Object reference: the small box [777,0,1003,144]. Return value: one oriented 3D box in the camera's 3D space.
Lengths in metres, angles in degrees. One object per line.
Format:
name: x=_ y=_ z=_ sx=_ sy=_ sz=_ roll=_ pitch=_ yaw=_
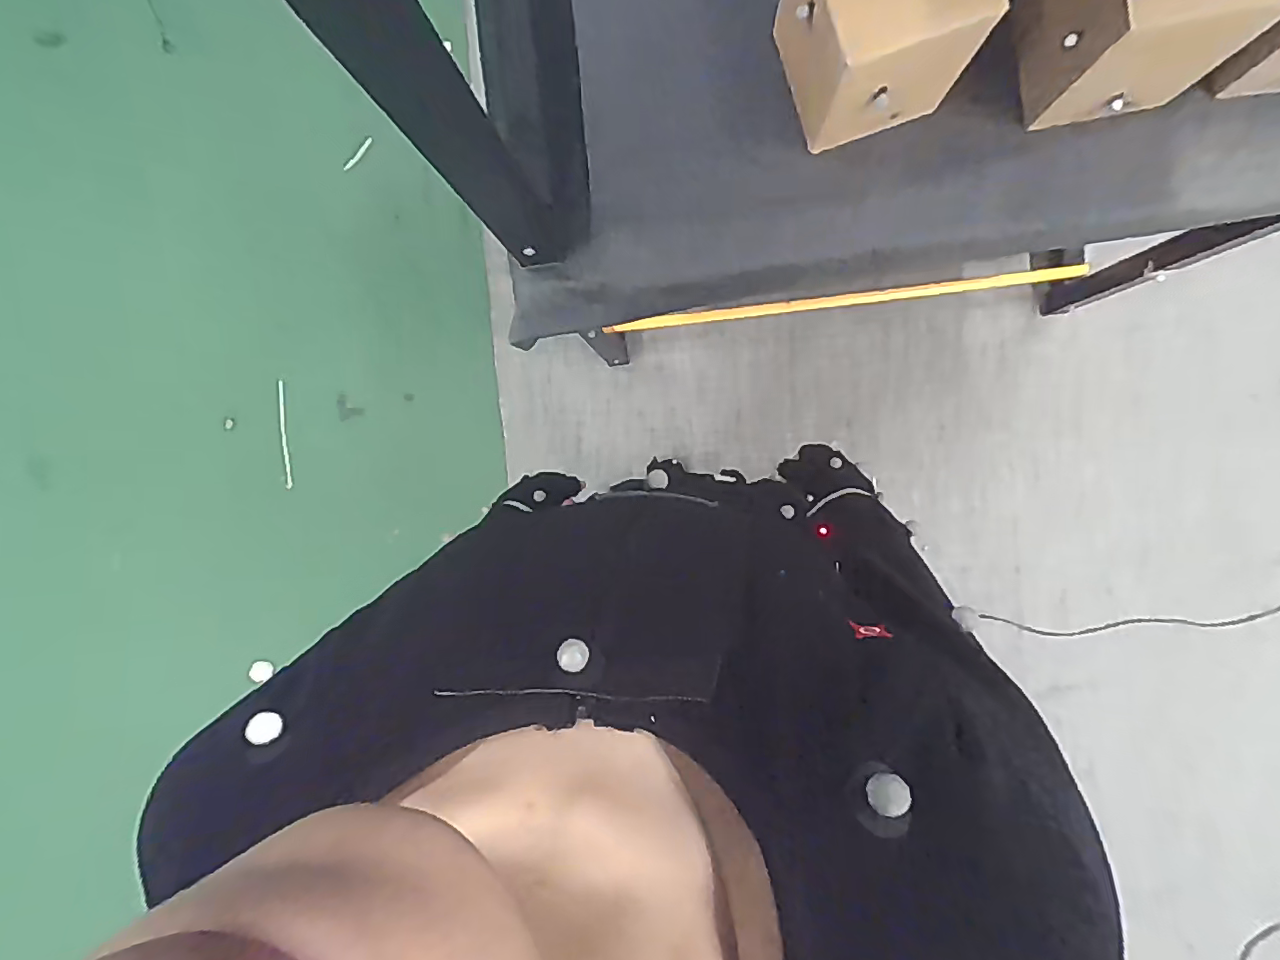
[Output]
small box: x=0.270 y=-0.528 z=0.624 sx=0.168 sy=0.176 sz=0.179 roll=-17 pitch=90 yaw=6
